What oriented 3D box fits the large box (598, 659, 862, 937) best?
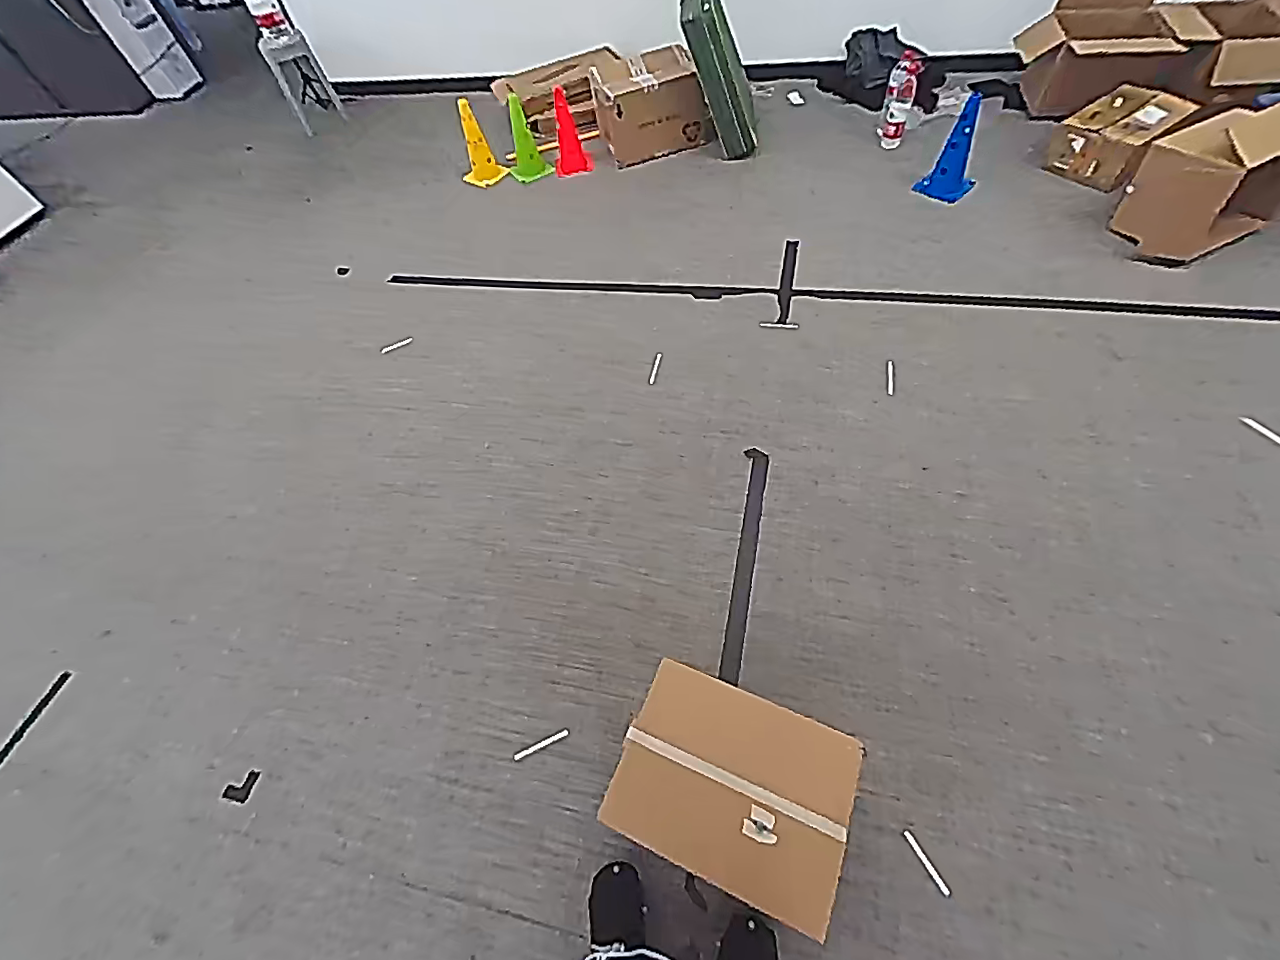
[{"bbox_3d":[0.175,0.619,1.092,0.408,0.320,0.320,19,61,17],"label":"large box"}]
